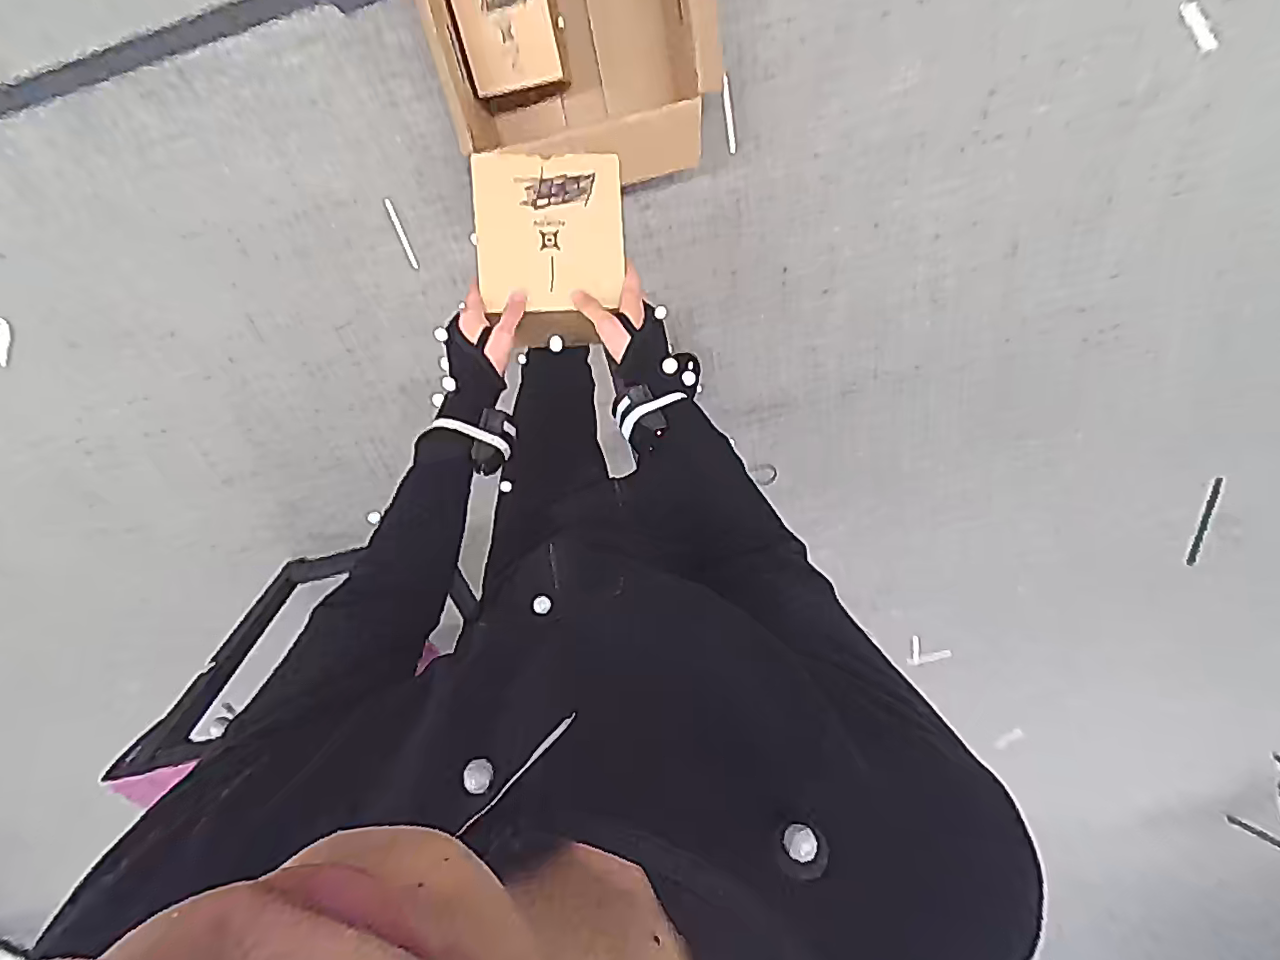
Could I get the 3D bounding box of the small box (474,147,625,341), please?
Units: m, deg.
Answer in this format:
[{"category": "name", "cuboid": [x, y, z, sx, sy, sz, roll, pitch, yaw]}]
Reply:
[{"category": "small box", "cuboid": [-0.109, -0.285, 0.686, 0.168, 0.176, 0.179, -3, 91, -5]}]
